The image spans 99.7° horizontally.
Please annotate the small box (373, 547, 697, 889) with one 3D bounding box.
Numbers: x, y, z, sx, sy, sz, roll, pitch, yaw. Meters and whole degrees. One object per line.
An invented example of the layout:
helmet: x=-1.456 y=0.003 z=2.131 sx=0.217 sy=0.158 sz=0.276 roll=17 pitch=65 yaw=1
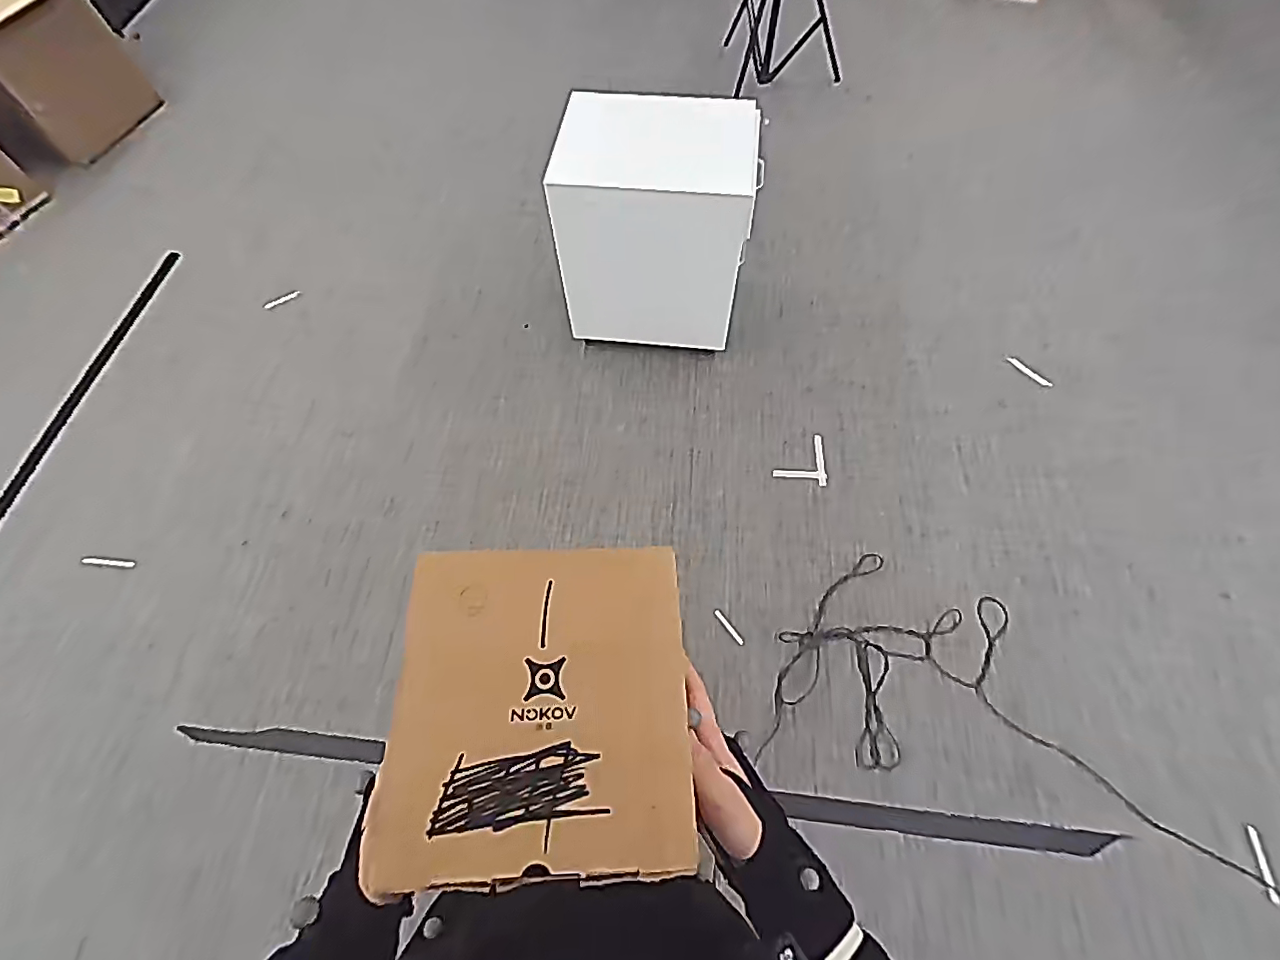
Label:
small box: x=-0.057 y=0.158 z=0.377 sx=0.168 sy=0.176 sz=0.179 roll=0 pitch=62 yaw=-4
